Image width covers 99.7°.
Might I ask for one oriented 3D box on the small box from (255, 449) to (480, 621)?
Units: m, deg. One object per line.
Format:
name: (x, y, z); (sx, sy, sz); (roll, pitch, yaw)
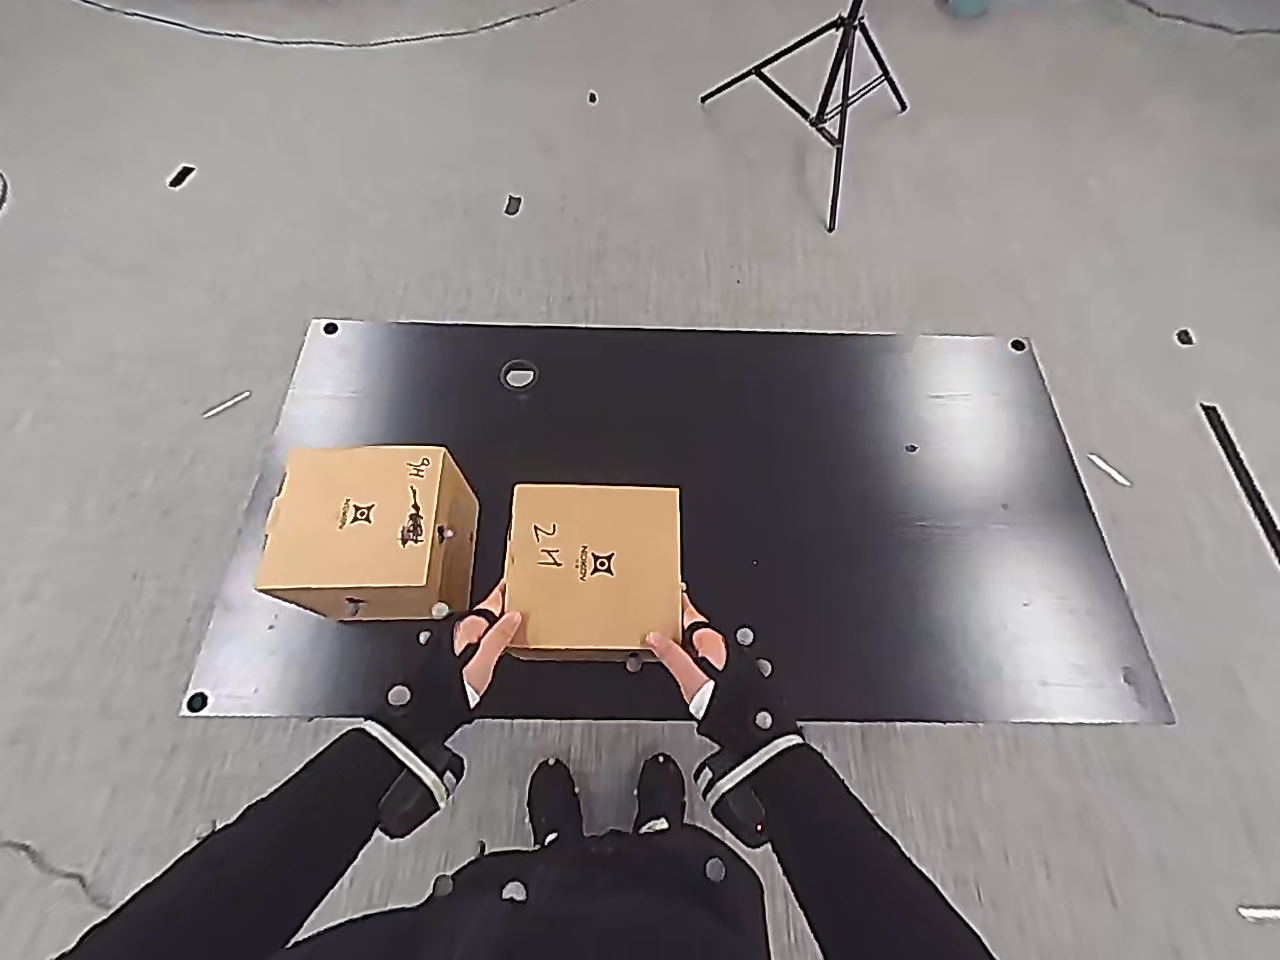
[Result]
small box: (-0.311, 0.074, 0.660); (0.179, 0.176, 0.168); (-1, 65, -2)

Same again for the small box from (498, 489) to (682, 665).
small box: (-0.050, 0.118, 0.614); (0.179, 0.176, 0.168); (1, 68, -2)
